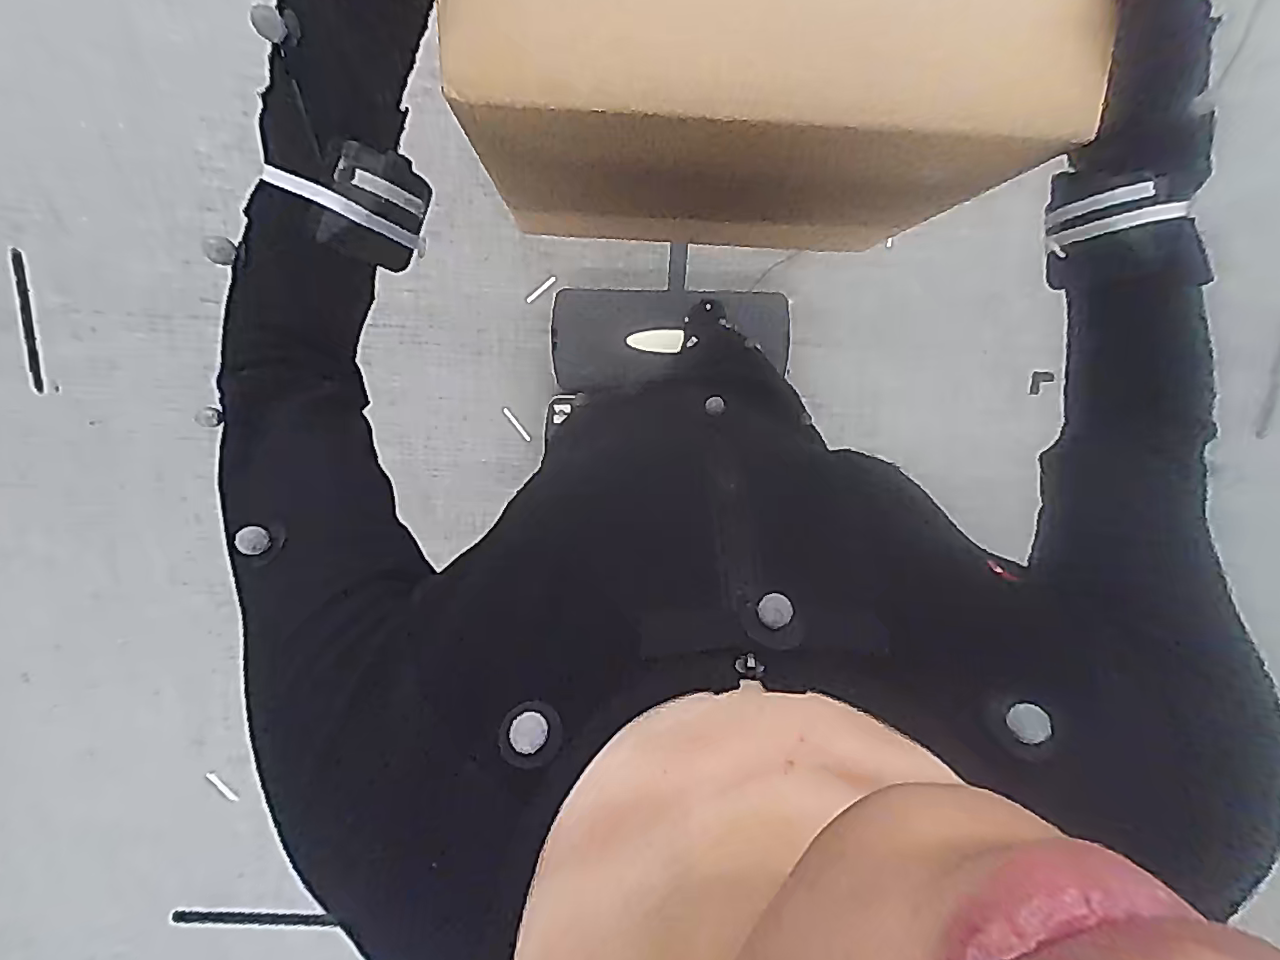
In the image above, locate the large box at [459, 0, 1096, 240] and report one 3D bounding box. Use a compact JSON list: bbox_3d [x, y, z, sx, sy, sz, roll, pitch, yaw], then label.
[{"bbox_3d":[0.078,-0.407,0.460,0.408,0.320,0.320,0,101,-5],"label":"large box"}]
